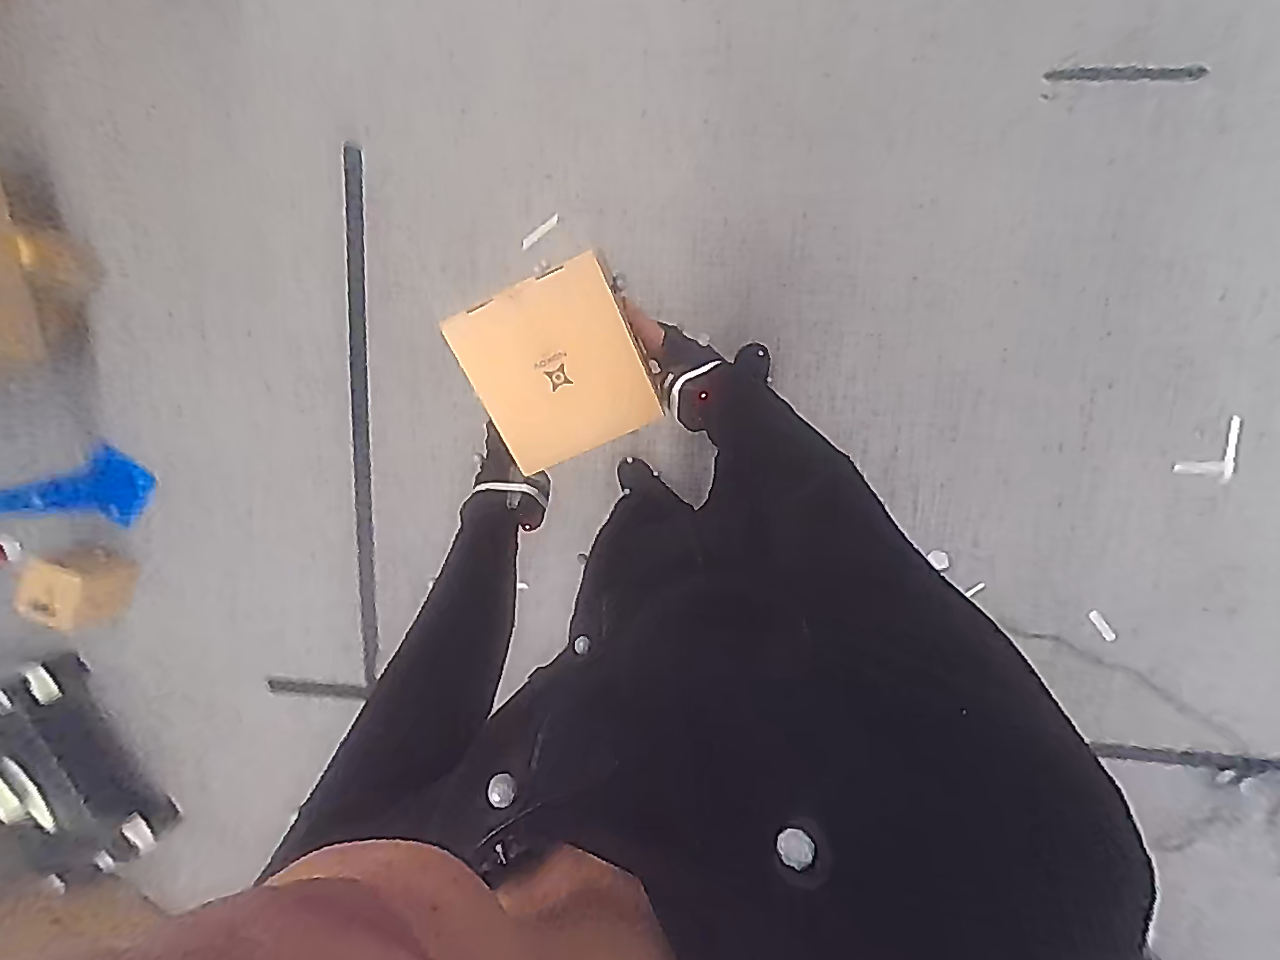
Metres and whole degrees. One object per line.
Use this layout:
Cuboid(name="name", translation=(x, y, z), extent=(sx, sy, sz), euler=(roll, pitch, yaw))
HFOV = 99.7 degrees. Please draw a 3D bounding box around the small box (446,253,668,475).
Cuboid(name="small box", translation=(-0.078, -0.137, 0.603), extent=(0.168, 0.176, 0.179), euler=(-22, 112, 7))
